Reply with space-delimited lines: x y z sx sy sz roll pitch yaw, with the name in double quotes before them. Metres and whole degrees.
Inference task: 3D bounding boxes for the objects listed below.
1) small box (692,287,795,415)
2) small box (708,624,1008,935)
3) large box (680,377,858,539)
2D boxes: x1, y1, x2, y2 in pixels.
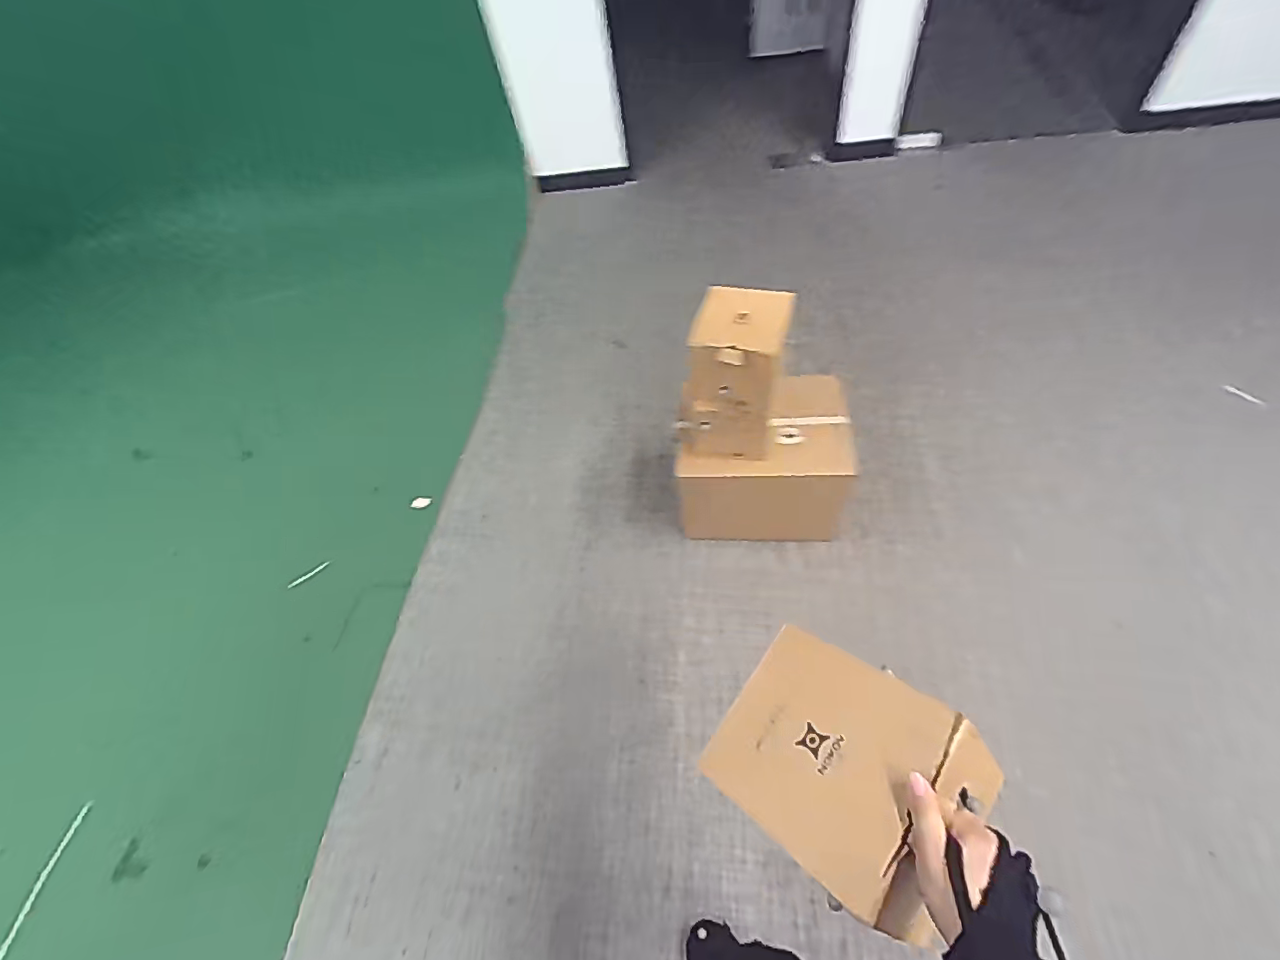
"small box" 0.207 -0.260 1.091 0.168 0.176 0.179 11 59 17
"small box" 0.204 0.271 0.499 0.168 0.176 0.179 -51 35 -14
"large box" 0.313 -0.048 1.426 0.408 0.320 0.320 0 57 8
